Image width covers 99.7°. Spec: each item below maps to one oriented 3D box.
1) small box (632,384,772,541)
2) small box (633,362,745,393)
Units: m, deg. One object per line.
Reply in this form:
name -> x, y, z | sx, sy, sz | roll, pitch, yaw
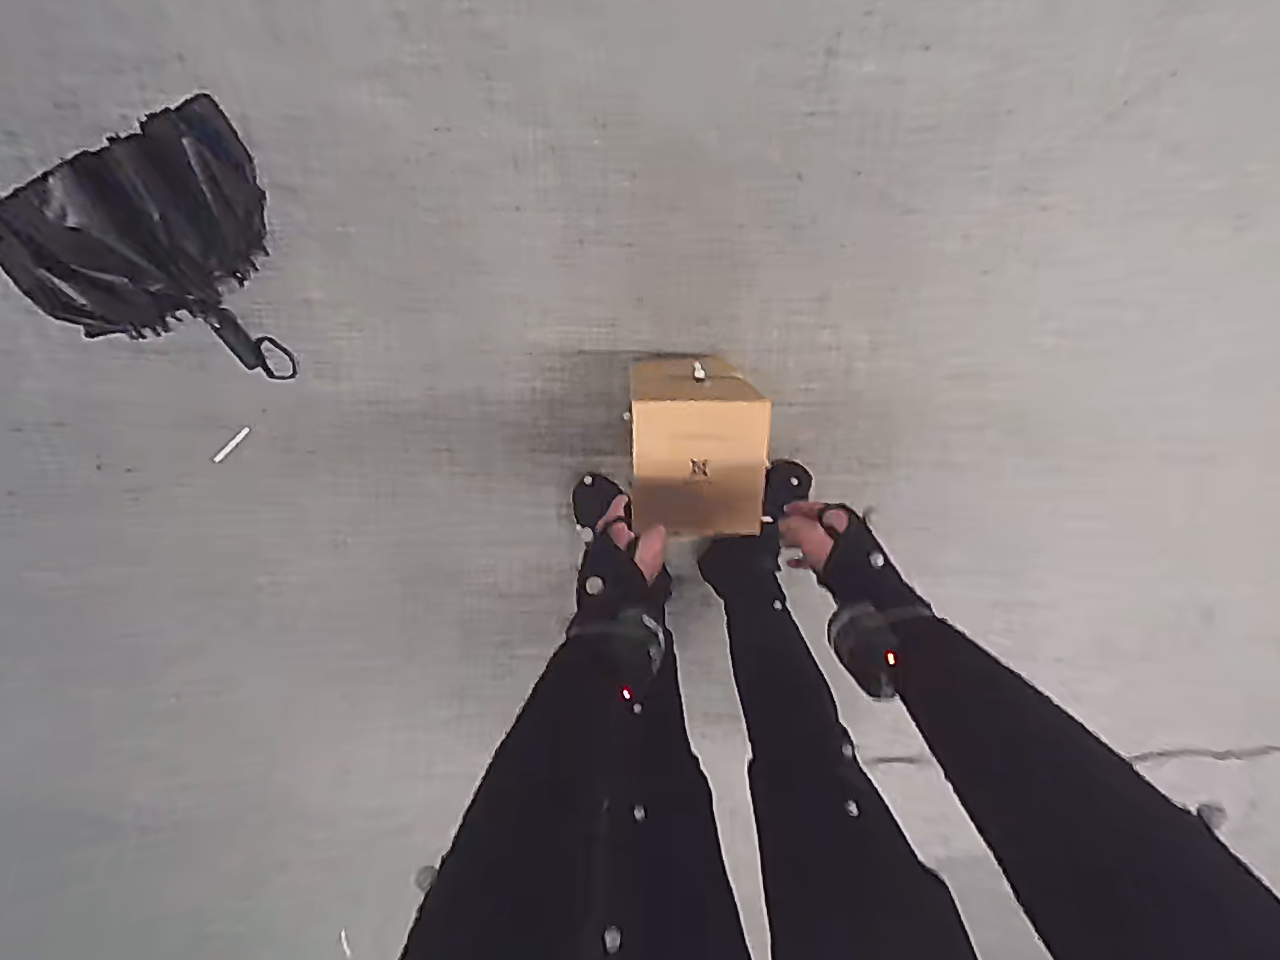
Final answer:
small box -> 0.074, -0.030, 0.744 | 0.168, 0.176, 0.179 | -1, 109, -1
small box -> 0.074, -0.092, 0.894 | 0.168, 0.176, 0.179 | -2, 112, 0
